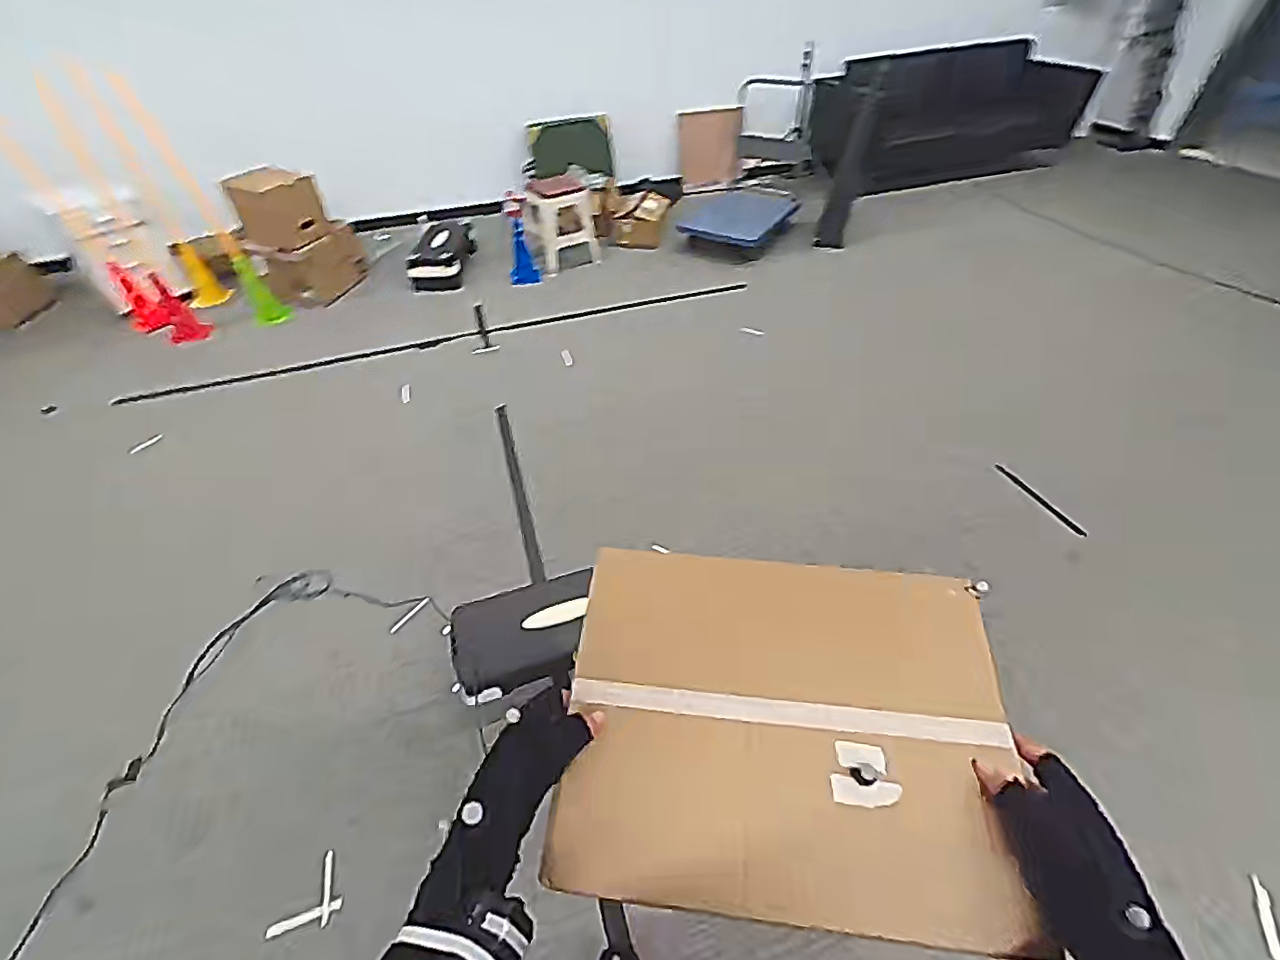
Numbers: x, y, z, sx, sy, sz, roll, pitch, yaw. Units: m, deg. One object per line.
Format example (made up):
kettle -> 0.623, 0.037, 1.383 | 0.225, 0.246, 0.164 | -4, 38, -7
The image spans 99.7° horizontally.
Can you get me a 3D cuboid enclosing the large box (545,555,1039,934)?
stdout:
large box -> 0.130, 0.304, 0.640 | 0.408, 0.320, 0.320 | 3, 56, 4
